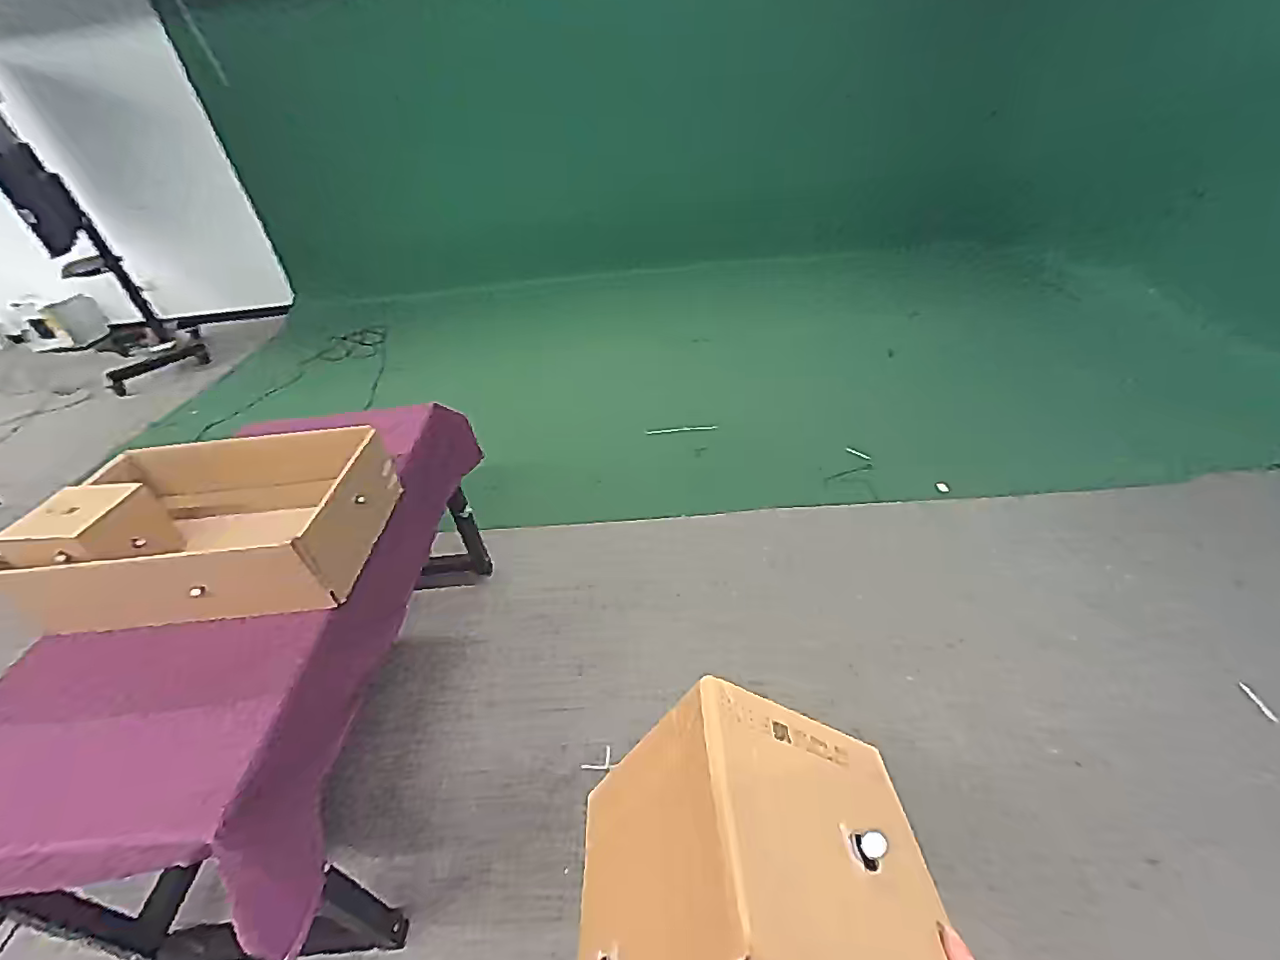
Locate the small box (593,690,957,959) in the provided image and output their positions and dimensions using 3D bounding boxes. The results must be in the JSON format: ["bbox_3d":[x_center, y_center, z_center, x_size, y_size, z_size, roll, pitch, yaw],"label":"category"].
[{"bbox_3d":[0.072,0.283,0.381,0.168,0.179,0.176,27,26,-15],"label":"small box"}]
